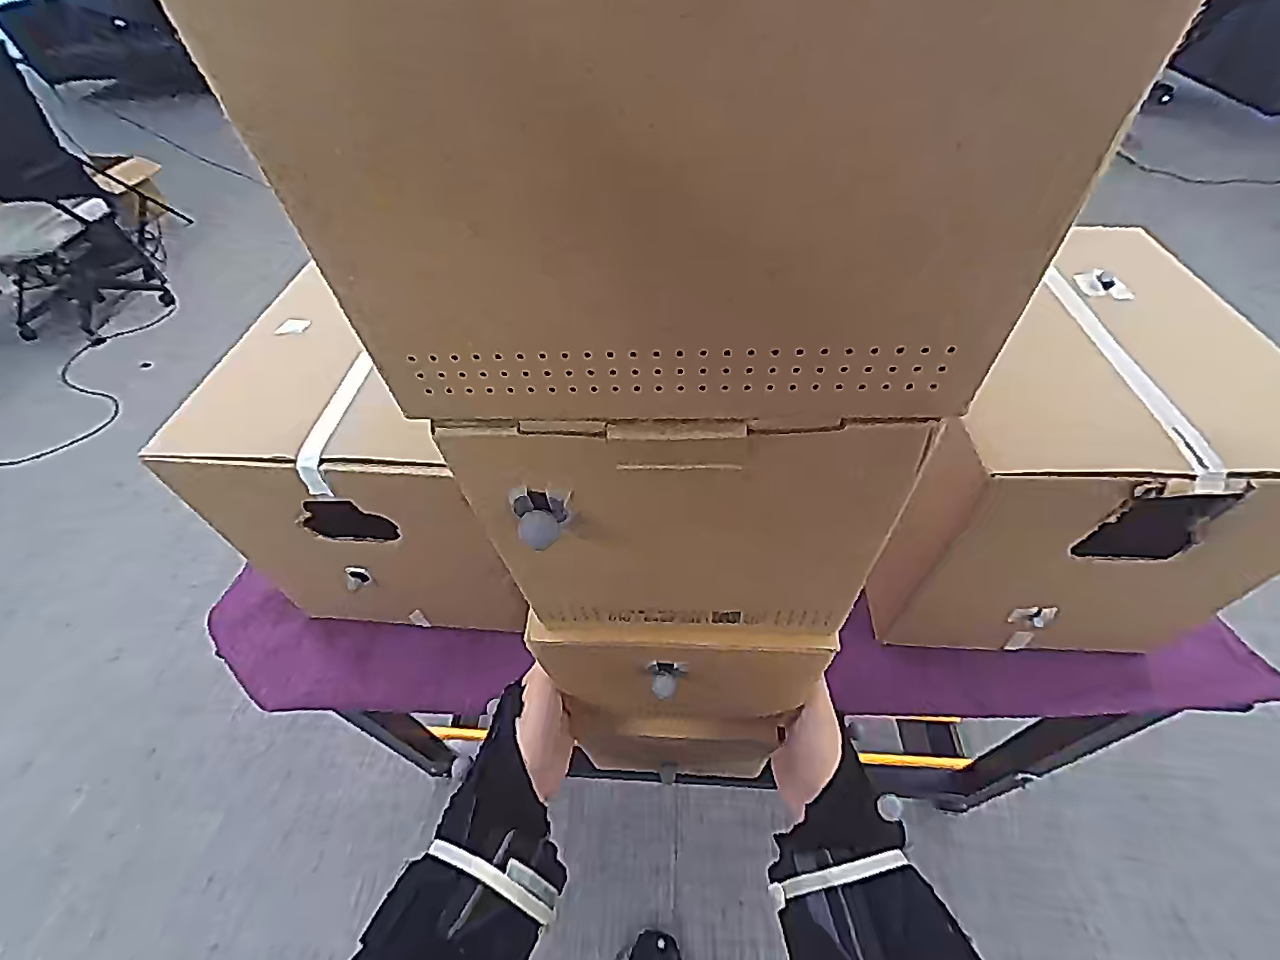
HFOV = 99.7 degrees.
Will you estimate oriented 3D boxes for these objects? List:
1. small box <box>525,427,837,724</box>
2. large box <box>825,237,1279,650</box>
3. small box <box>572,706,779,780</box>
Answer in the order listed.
[{"bbox_3d":[0.032,0.077,0.409,0.179,0.176,0.168,-1,53,6],"label":"small box"},{"bbox_3d":[0.438,-0.046,0.651,0.320,0.320,0.408,1,48,4],"label":"large box"},{"bbox_3d":[0.038,0.181,0.533,0.168,0.176,0.179,0,54,6],"label":"small box"}]
